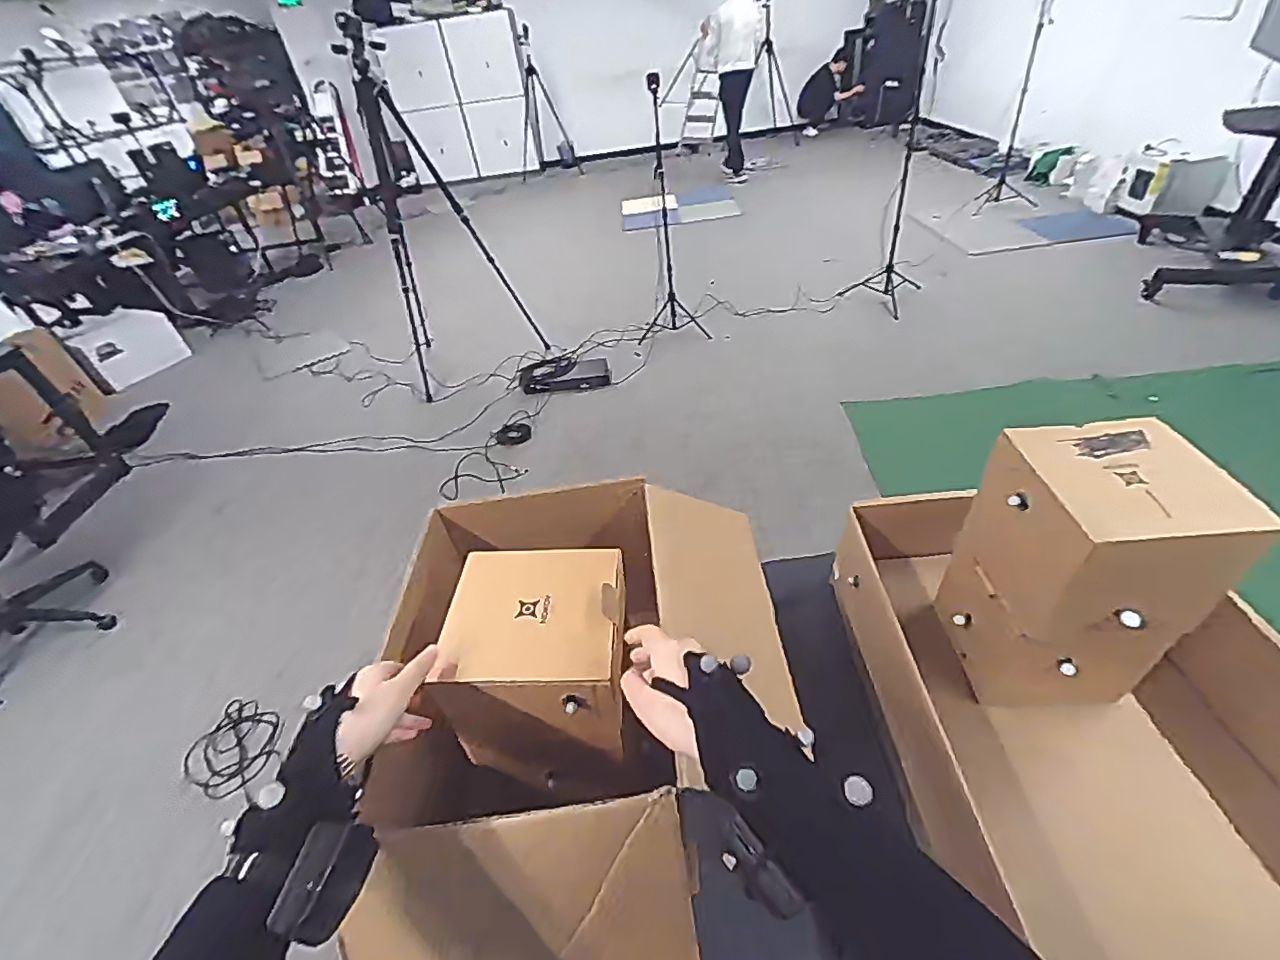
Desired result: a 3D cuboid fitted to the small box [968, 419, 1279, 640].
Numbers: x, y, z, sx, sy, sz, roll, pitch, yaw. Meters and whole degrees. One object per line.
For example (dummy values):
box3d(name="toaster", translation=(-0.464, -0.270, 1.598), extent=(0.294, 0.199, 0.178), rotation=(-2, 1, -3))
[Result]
box3d(name="small box", translation=(0.502, 0.055, 0.603), extent=(0.168, 0.176, 0.179), rotation=(-6, 41, 5))
